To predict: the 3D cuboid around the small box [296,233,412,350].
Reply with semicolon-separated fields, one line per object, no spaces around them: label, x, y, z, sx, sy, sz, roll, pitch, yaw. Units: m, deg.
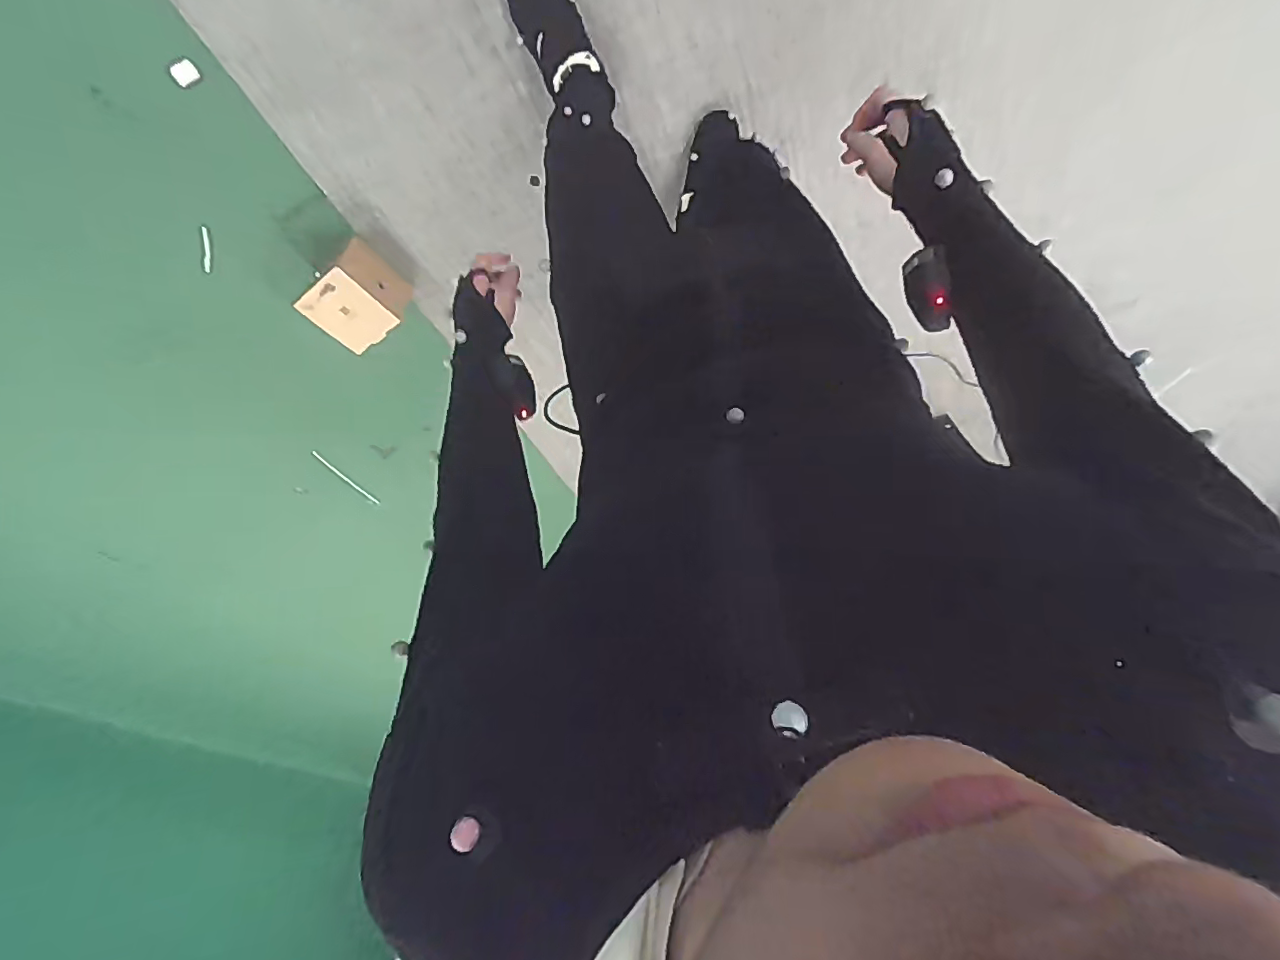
small box;-0.692;-0.464;1.329;0.168;0.176;0.179;-28;135;20
